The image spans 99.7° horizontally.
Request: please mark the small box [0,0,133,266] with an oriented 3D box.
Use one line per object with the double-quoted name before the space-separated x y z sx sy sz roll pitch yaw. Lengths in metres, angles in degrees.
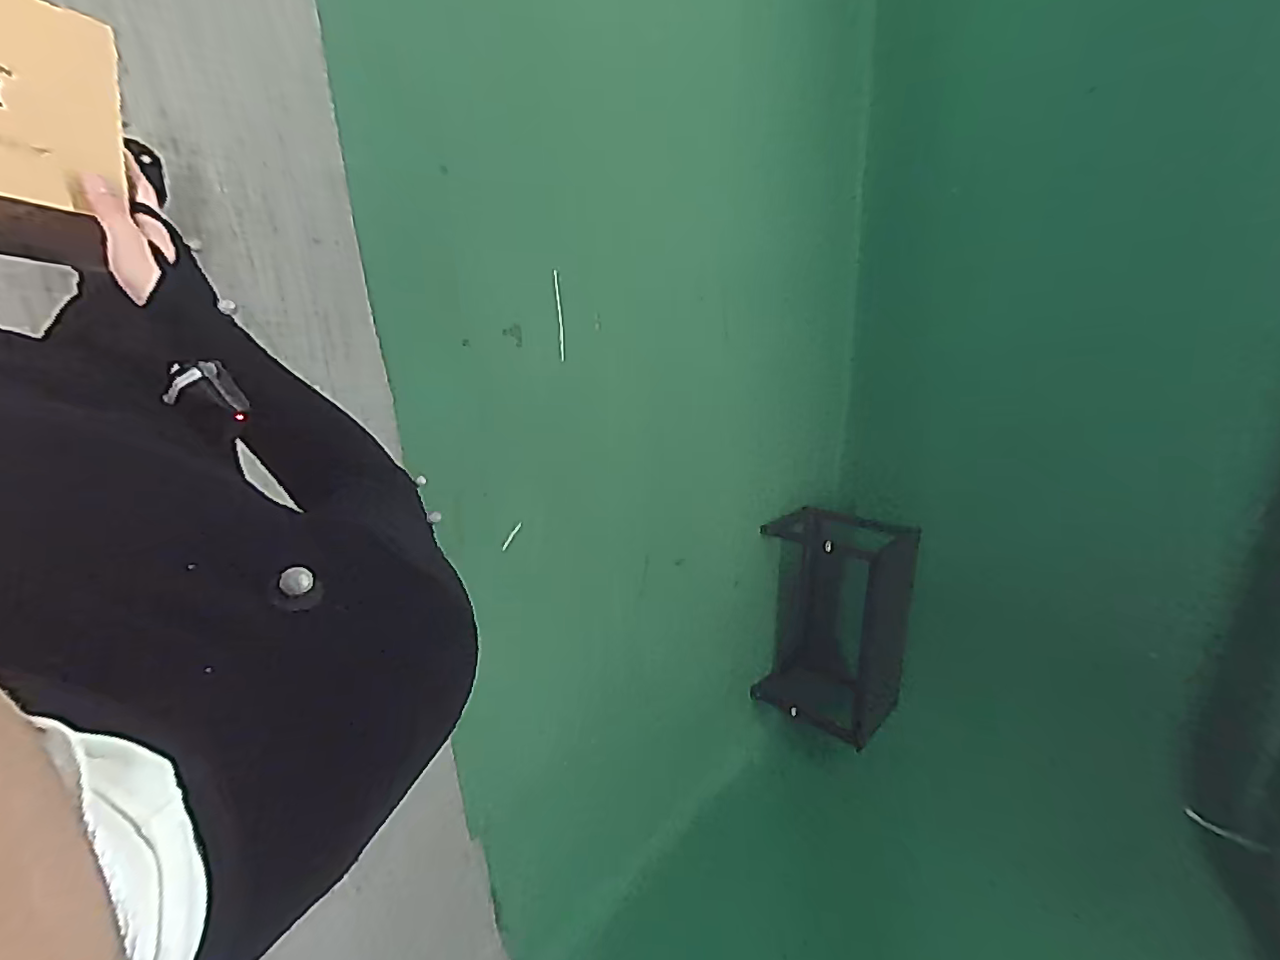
"small box" -0.574 -0.311 0.471 0.168 0.176 0.179 -7 96 -49
